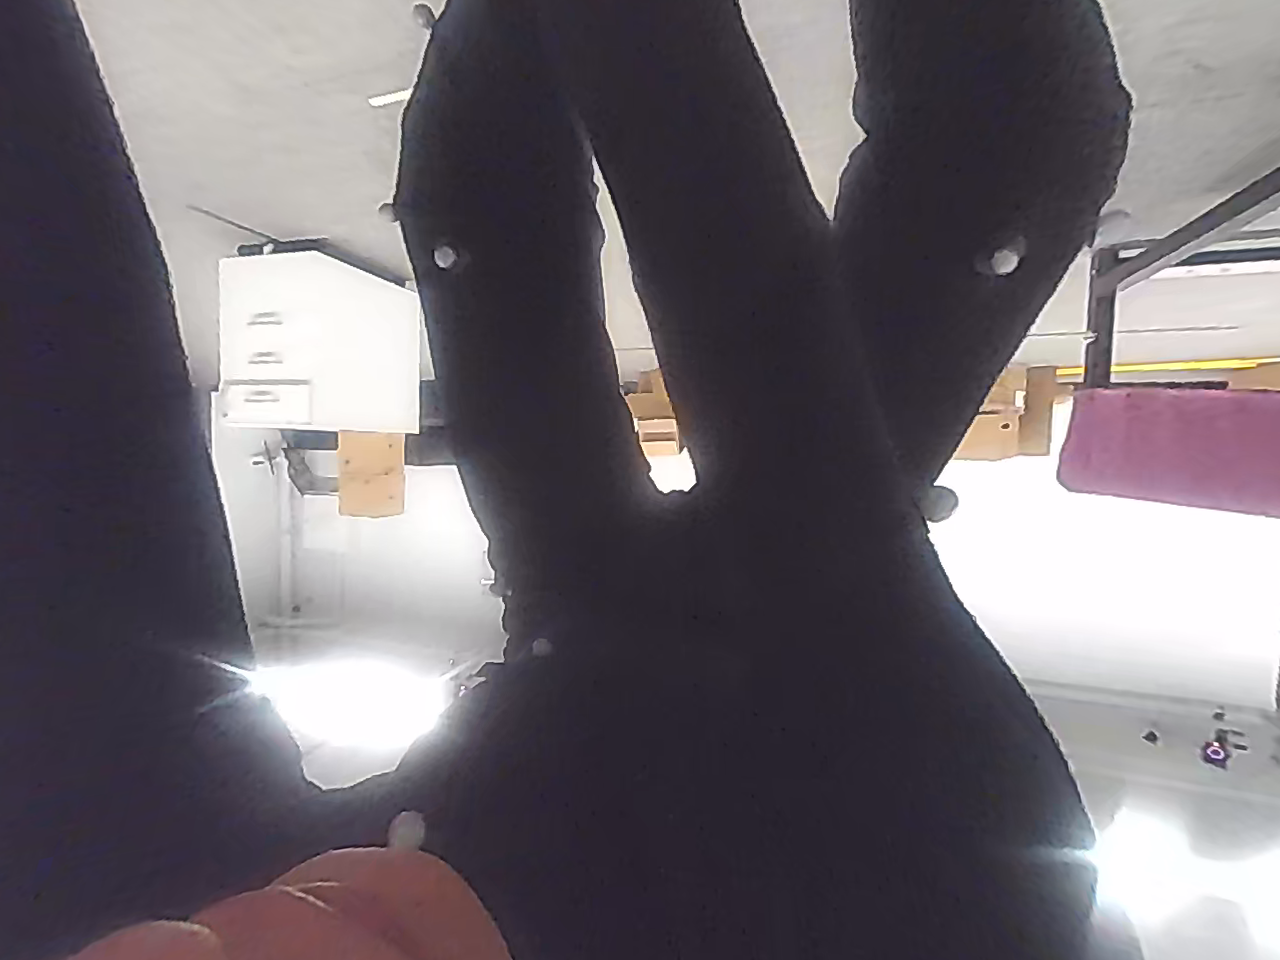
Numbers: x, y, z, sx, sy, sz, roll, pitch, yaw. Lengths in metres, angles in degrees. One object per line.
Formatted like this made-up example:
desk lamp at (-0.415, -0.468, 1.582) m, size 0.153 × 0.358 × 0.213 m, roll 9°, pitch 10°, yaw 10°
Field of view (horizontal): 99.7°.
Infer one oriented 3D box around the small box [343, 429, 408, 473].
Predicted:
small box at (-1.044, -0.116, 2.148) m, size 0.179 × 0.176 × 0.168 m, roll 3°, pitch -176°, yaw 17°

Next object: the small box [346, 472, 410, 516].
small box at (-1.045, 0.049, 2.158) m, size 0.168 × 0.176 × 0.179 m, roll 4°, pitch -176°, yaw 16°
